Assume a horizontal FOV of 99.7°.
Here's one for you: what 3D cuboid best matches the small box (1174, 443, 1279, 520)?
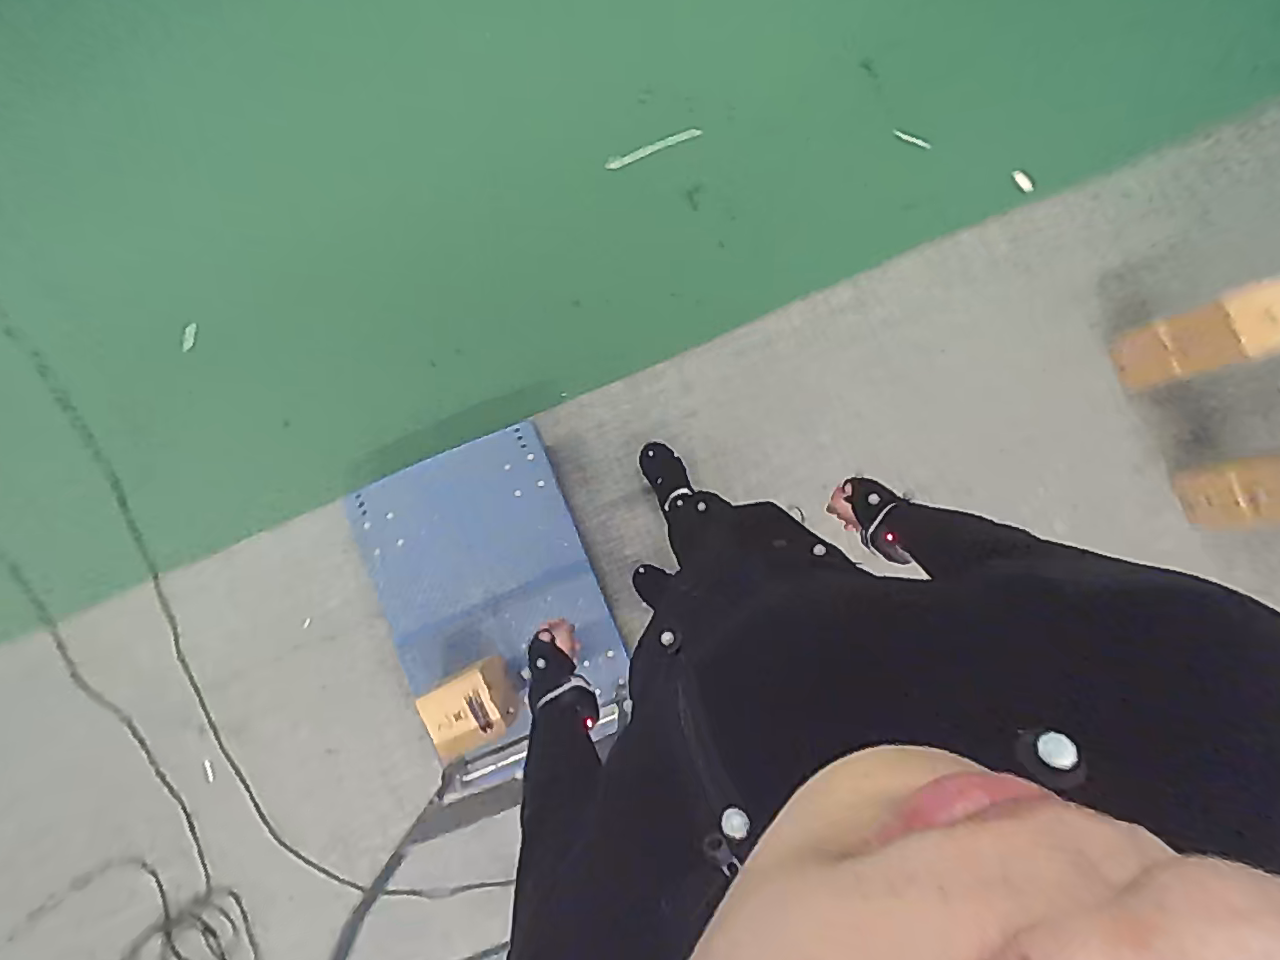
[{"bbox_3d":[1.688,0.011,1.535,0.179,0.176,0.168,-21,85,0],"label":"small box"}]

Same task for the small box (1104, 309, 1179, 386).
[{"bbox_3d":[1.522,-0.391,1.588,0.179,0.176,0.168,-19,86,-1],"label":"small box"}]

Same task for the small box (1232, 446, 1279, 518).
[{"bbox_3d":[1.694,-0.006,1.371,0.179,0.176,0.168,-17,84,0],"label":"small box"}]

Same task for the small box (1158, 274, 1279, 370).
[{"bbox_3d":[1.534,-0.405,1.411,0.179,0.176,0.168,-19,86,0],"label":"small box"}]
